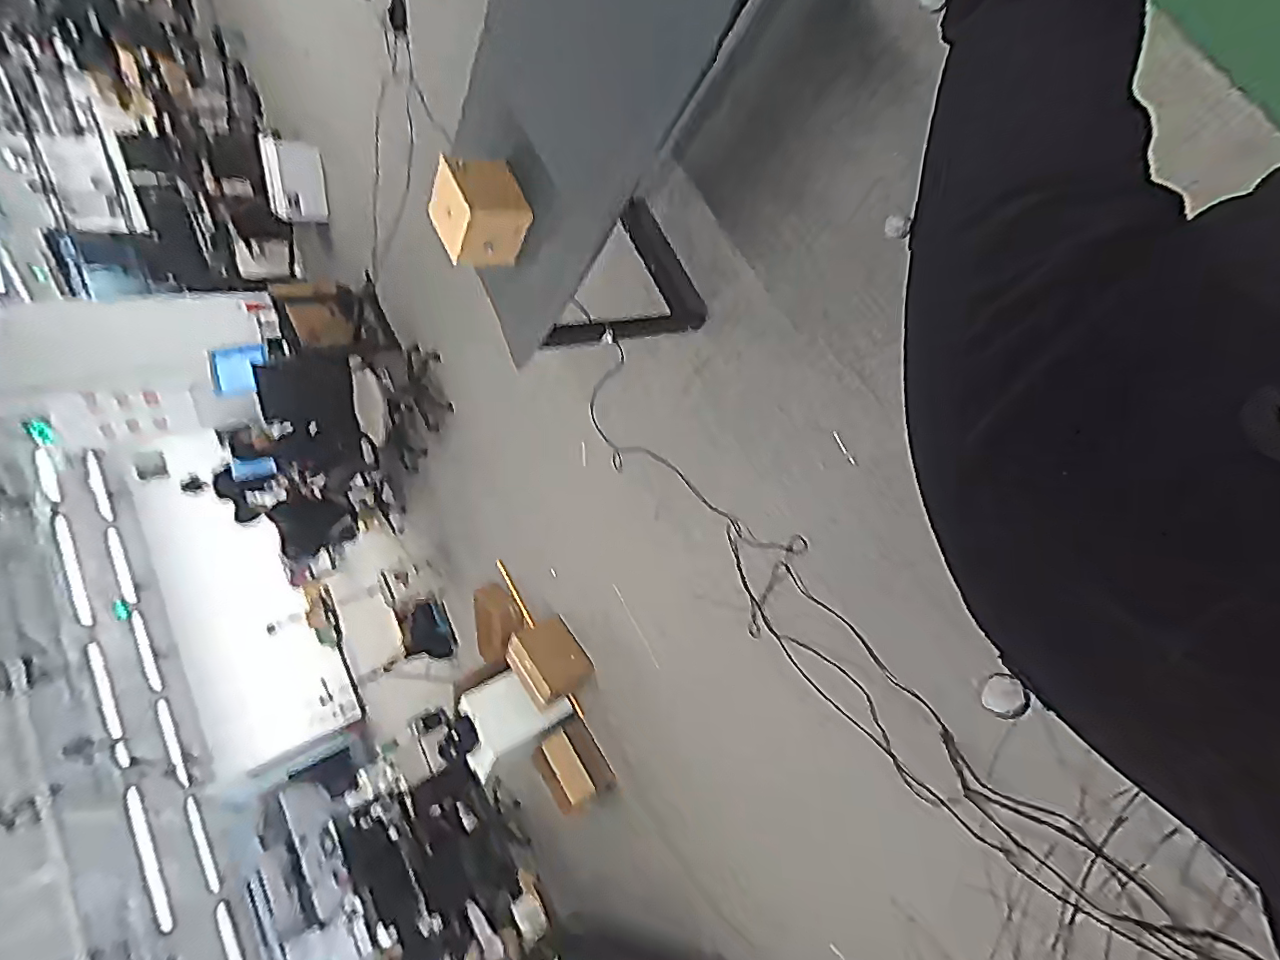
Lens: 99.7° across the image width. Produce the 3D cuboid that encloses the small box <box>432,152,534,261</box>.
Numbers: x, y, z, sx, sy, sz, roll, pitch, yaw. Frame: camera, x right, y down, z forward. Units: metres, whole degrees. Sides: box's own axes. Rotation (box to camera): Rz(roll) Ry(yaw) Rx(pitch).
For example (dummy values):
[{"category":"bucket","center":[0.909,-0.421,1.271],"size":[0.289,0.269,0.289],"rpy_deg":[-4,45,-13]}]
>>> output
[{"category":"small box","center":[-0.385,-0.667,1.329],"size":[0.168,0.176,0.179],"rpy_deg":[-43,70,49]}]
